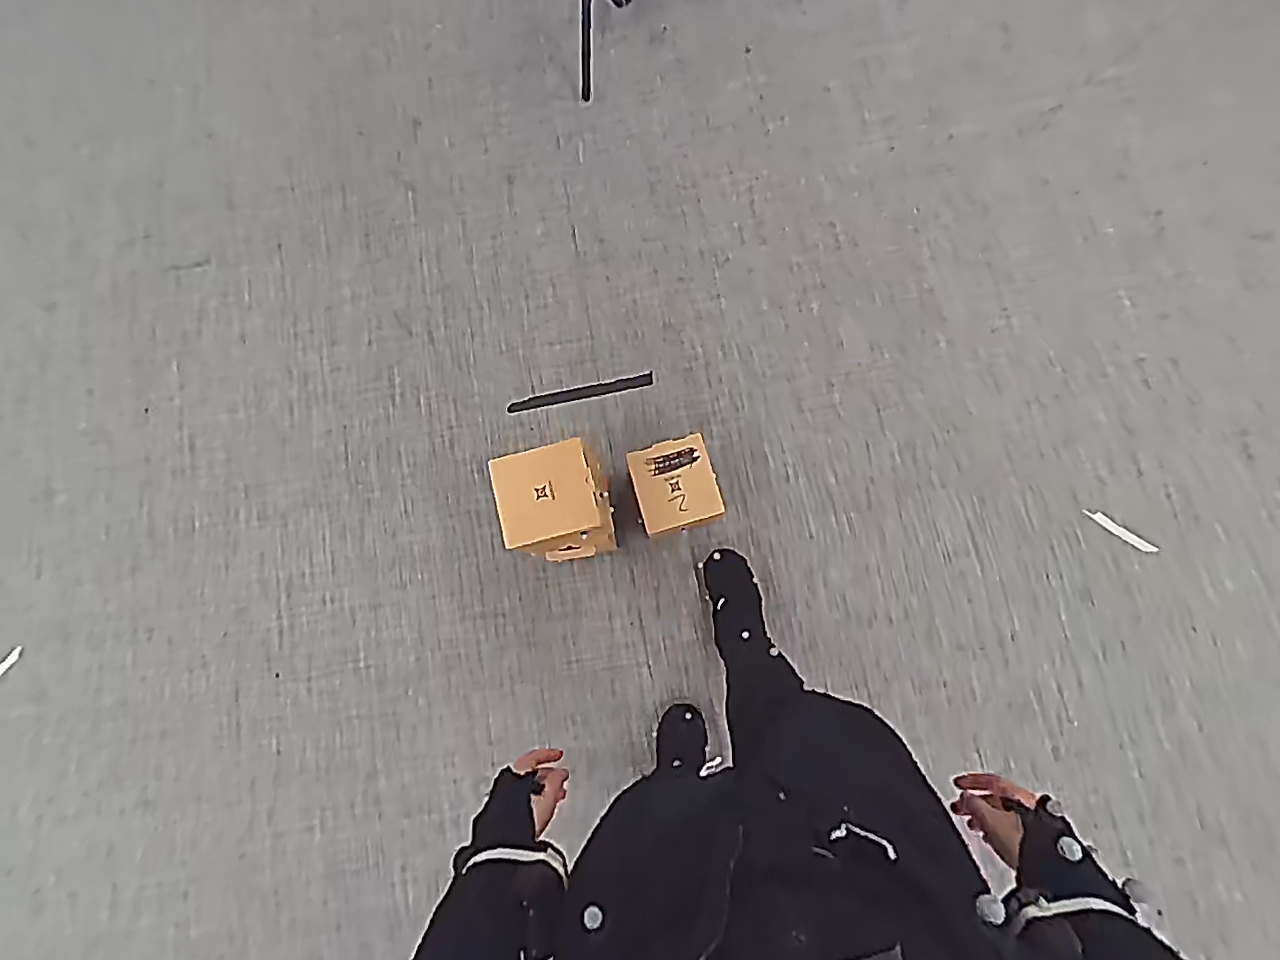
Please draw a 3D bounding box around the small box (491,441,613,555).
[{"bbox_3d":[-0.160,0.043,1.029,0.179,0.176,0.168,-16,79,0],"label":"small box"}]

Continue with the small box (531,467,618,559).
[{"bbox_3d":[-0.145,0.078,1.187,0.168,0.176,0.179,-8,79,2],"label":"small box"}]
